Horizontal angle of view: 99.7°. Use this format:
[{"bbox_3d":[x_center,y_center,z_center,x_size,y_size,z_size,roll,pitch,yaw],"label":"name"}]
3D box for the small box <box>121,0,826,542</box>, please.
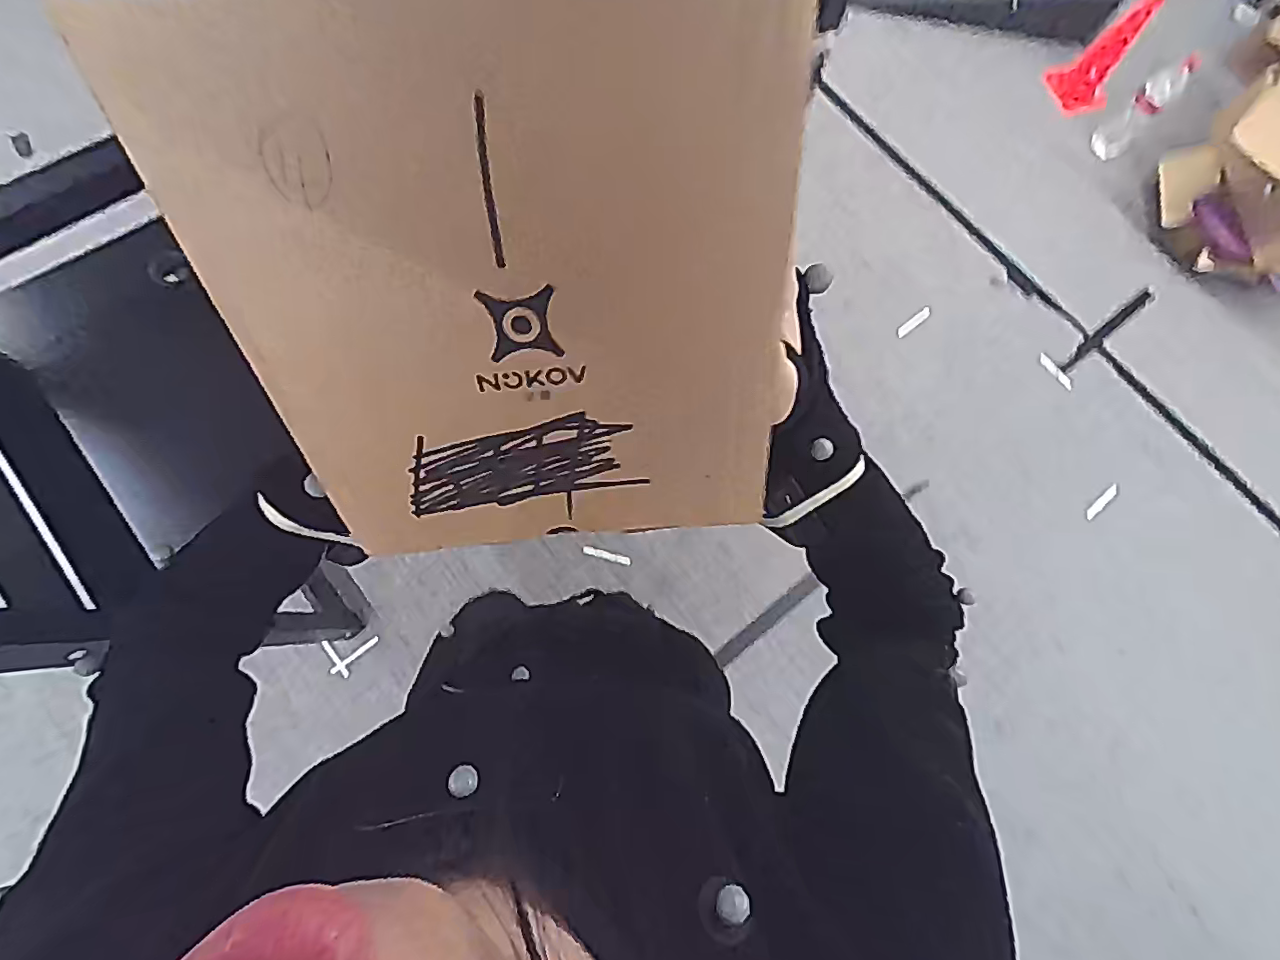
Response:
[{"bbox_3d":[-0.038,-0.096,0.238,0.168,0.179,0.176,-5,40,-1],"label":"small box"}]
